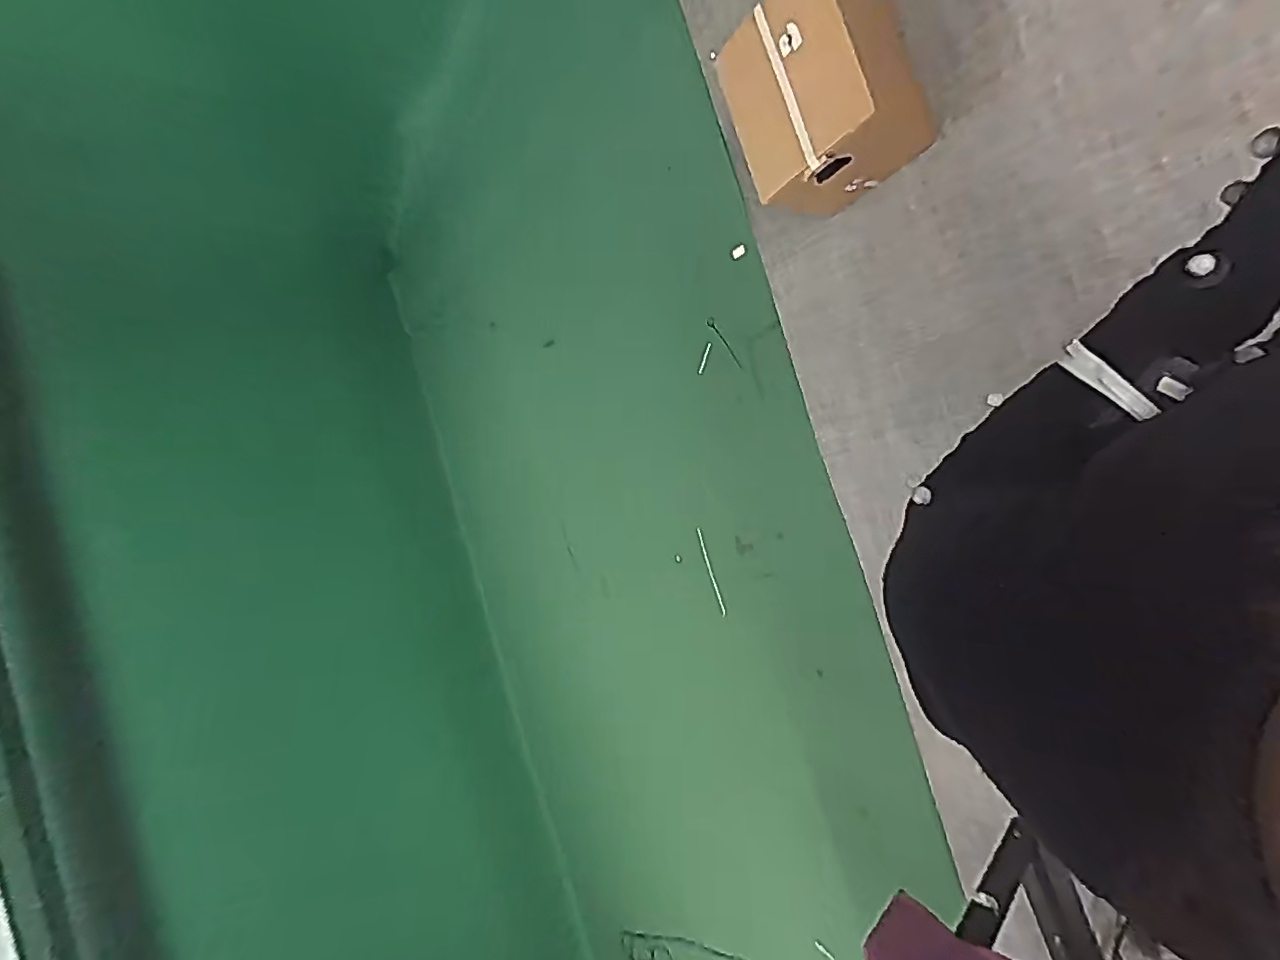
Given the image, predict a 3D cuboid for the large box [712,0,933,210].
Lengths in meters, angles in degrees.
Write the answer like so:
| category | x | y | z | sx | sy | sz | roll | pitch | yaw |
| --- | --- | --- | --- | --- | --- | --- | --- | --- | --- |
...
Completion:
| category | x | y | z | sx | sy | sz | roll | pitch | yaw |
| --- | --- | --- | --- | --- | --- | --- | --- | --- | --- |
| large box | 0.442 | -0.946 | 1.324 | 0.320 | 0.320 | 0.408 | -21 | 85 | 51 |
